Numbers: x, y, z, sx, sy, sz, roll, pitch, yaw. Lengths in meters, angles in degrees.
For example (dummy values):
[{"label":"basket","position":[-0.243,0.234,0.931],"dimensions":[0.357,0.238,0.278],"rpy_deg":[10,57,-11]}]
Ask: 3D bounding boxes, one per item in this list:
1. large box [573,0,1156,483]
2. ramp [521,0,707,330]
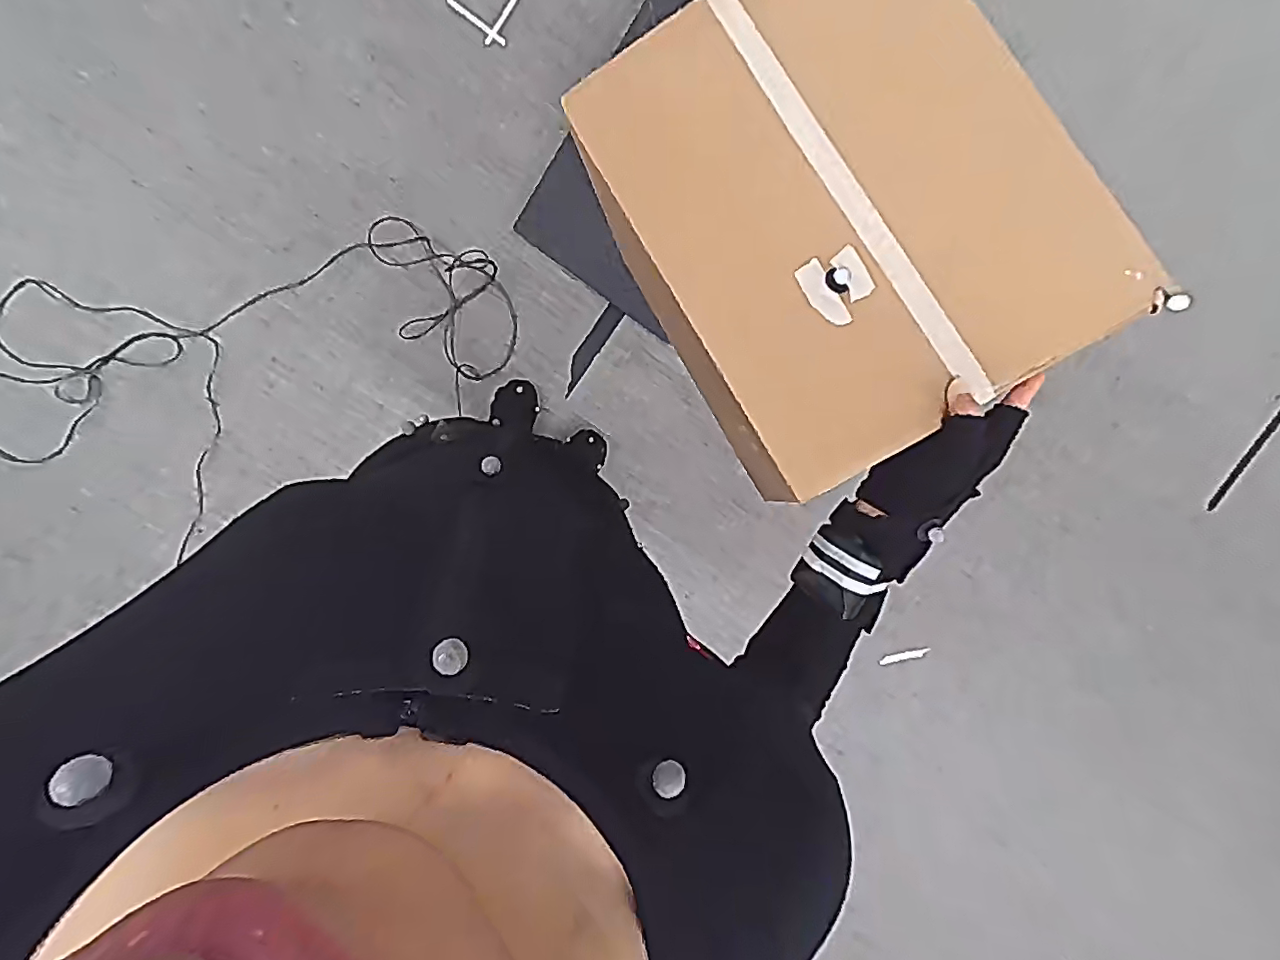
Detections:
[{"label":"large box","position":[0.185,-0.242,0.592],"dimensions":[0.320,0.320,0.408],"rpy_deg":[-31,86,7]},{"label":"ramp","position":[0.180,-0.905,1.268],"dimensions":[0.509,0.206,0.991],"rpy_deg":[32,96,-12]}]
